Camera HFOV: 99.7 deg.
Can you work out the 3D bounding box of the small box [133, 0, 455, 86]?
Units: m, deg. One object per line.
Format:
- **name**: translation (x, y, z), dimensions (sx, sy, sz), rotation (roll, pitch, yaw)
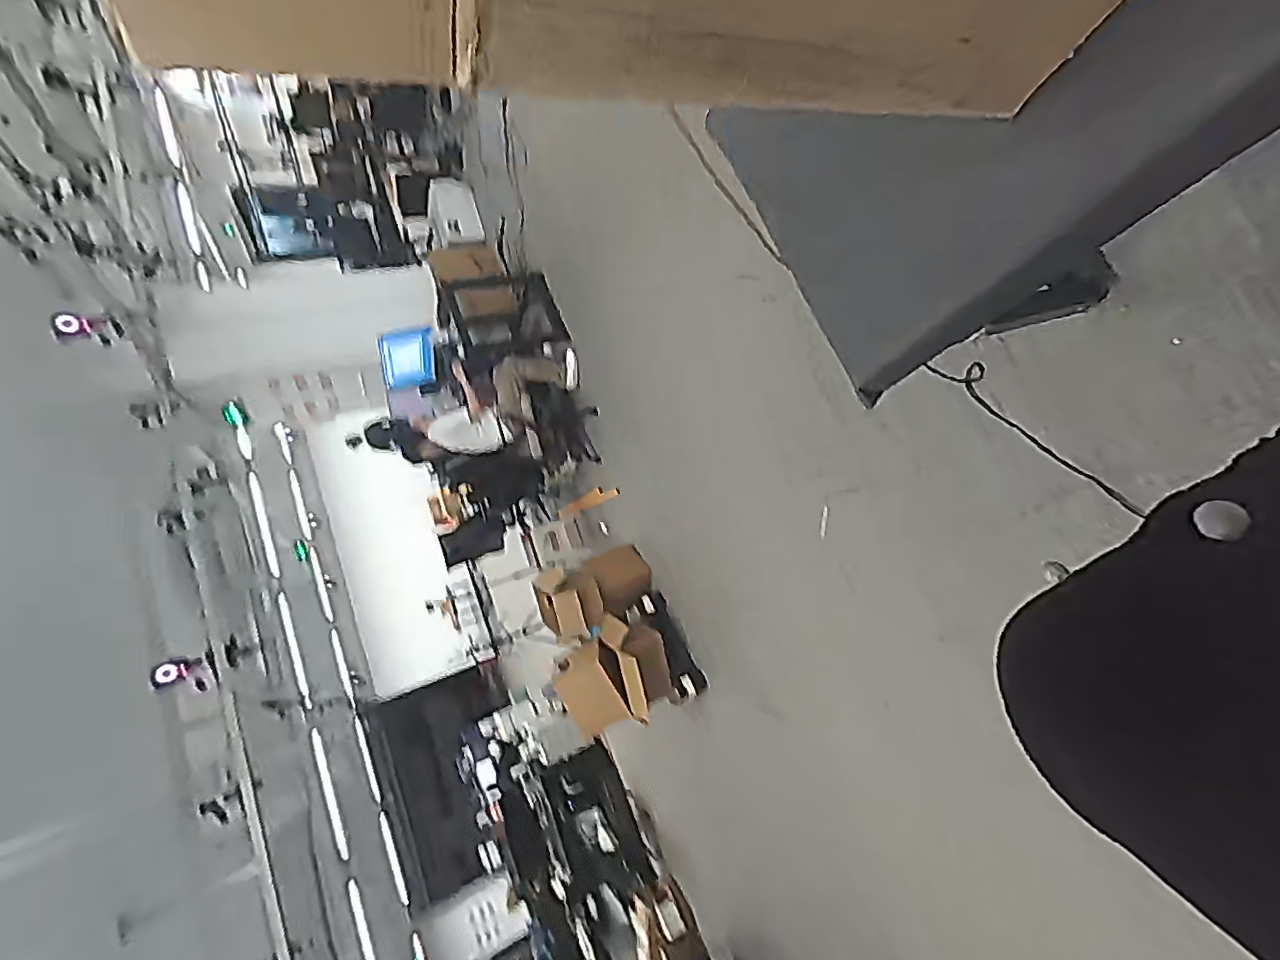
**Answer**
- **small box**: translation (-0.199, -0.348, 0.282), dimensions (0.179, 0.176, 0.168), rotation (65, 153, 14)
